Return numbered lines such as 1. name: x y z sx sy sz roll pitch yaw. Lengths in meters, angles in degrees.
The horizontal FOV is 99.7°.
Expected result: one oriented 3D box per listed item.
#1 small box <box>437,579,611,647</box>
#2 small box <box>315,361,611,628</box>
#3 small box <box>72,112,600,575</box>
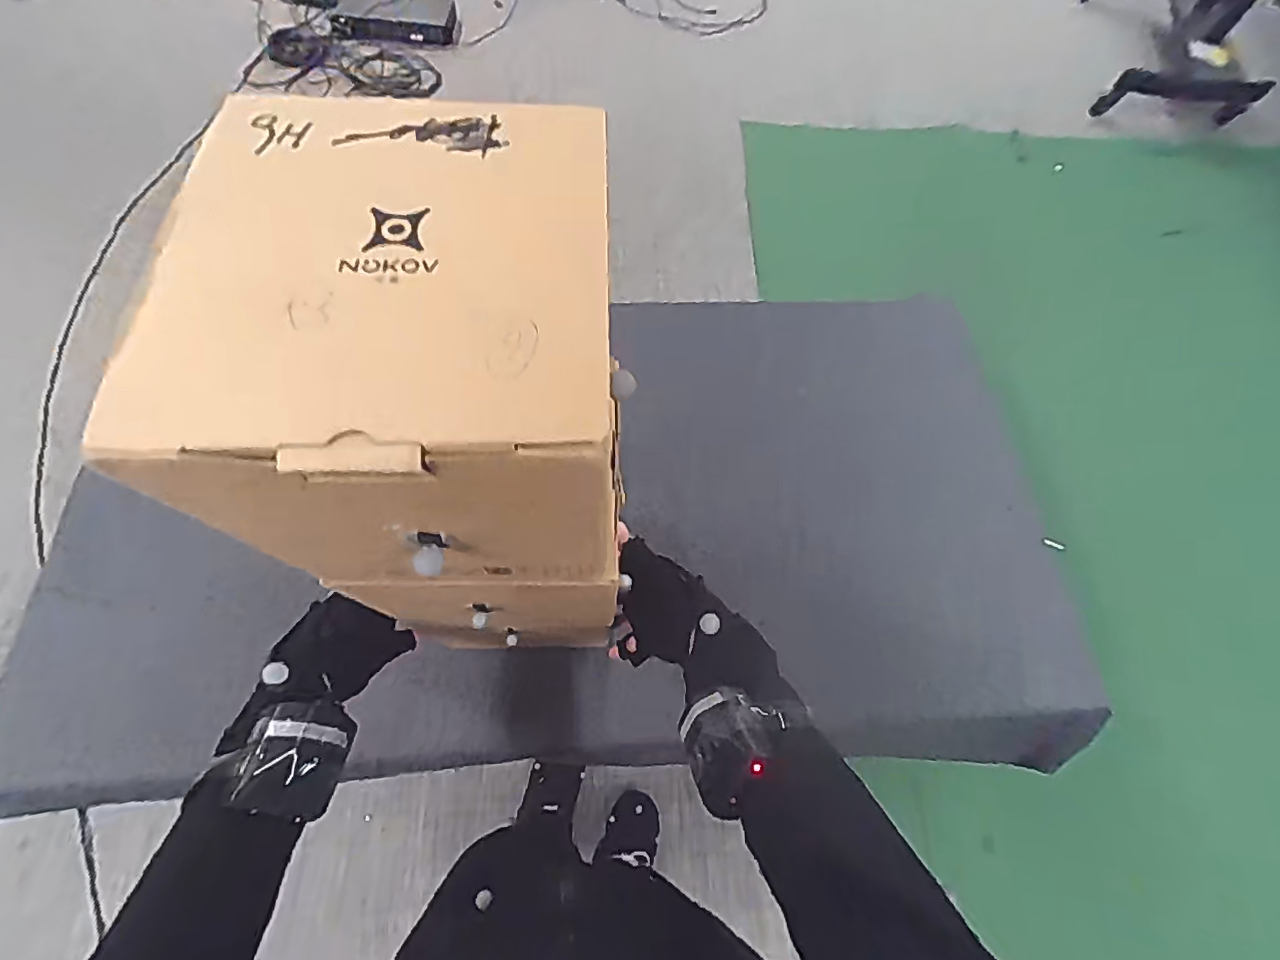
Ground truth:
1. small box: -0.121 0.083 0.580 0.179 0.176 0.168 -1 67 -6
2. small box: -0.111 0.021 0.426 0.179 0.176 0.168 -1 66 -2
3. small box: -0.106 -0.050 0.280 0.168 0.176 0.179 -1 67 -4
